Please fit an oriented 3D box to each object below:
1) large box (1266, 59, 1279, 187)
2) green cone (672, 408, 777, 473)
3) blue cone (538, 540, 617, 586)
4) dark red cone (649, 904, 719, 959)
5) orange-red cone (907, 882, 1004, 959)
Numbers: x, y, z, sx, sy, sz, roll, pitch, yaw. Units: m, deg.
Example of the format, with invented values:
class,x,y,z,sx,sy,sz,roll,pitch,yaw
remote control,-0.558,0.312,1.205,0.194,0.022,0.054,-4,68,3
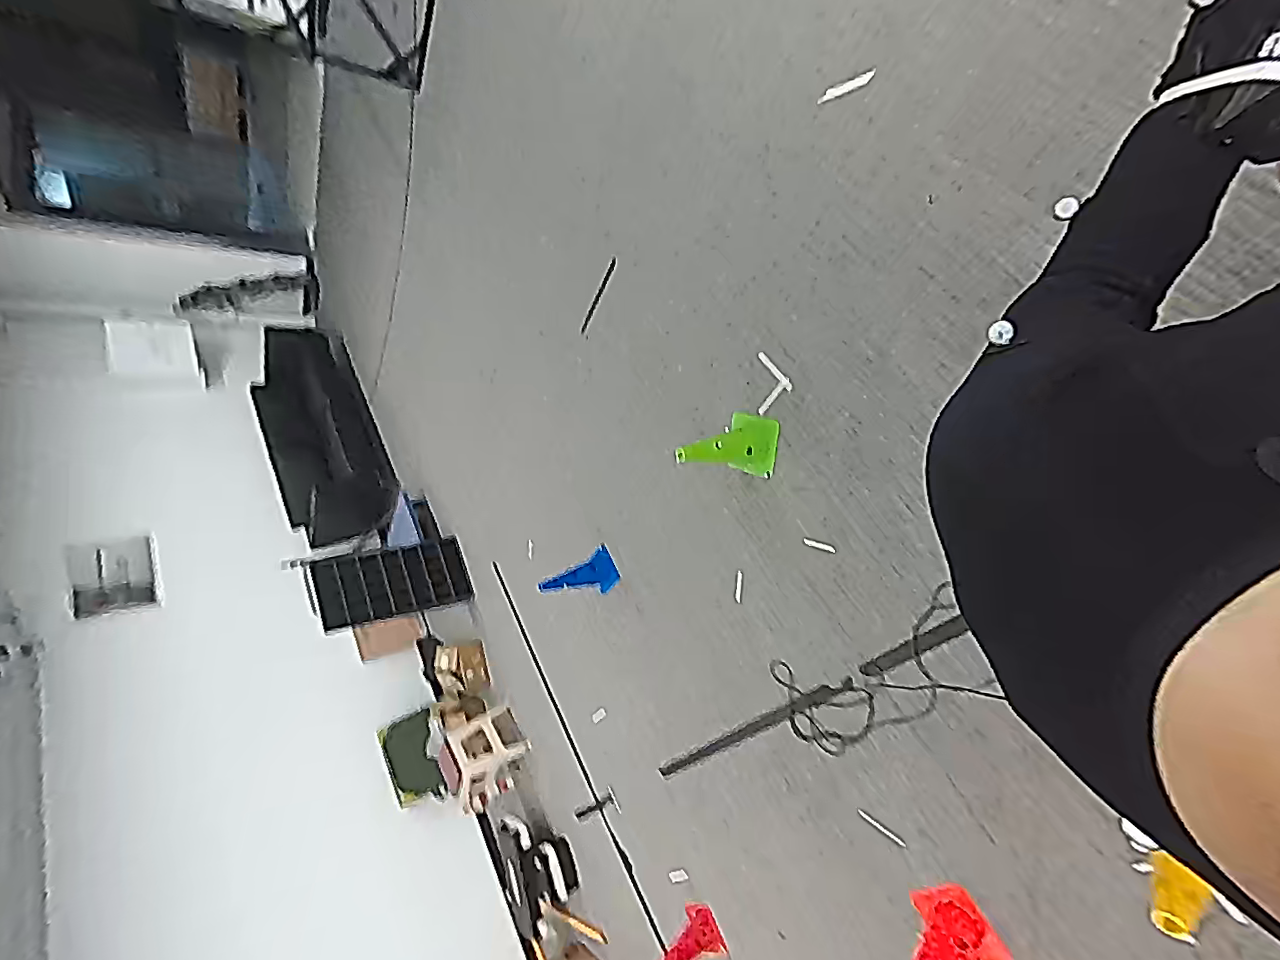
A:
class,x,y,z,sx,sy,sz,roll,pitch,yaw
large box,0.675,-0.348,0.271,0.408,0.320,0.320,30,121,42
green cone,0.252,-0.120,1.766,0.202,0.368,0.200,22,113,47
blue cone,-0.311,0.433,2.576,0.193,0.380,0.192,-49,59,43
dark red cone,0.135,2.020,2.305,0.202,0.394,0.201,-46,61,44
orange-red cone,0.771,1.289,1.437,0.198,0.360,0.199,57,133,25
